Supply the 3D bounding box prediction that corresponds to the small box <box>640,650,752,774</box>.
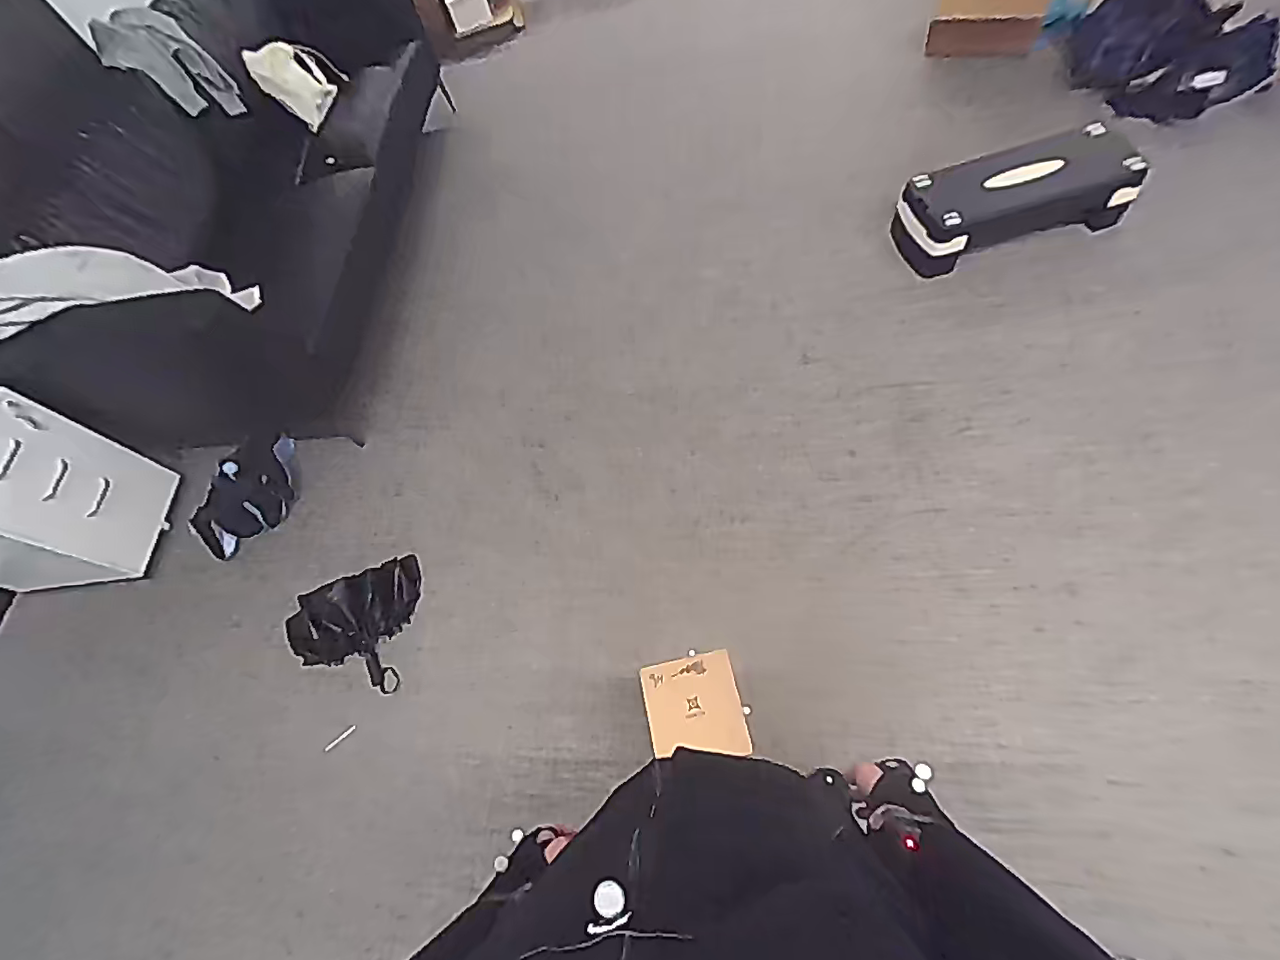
[{"bbox_3d":[0.108,0.429,1.004,0.168,0.176,0.179,-15,63,5],"label":"small box"}]
